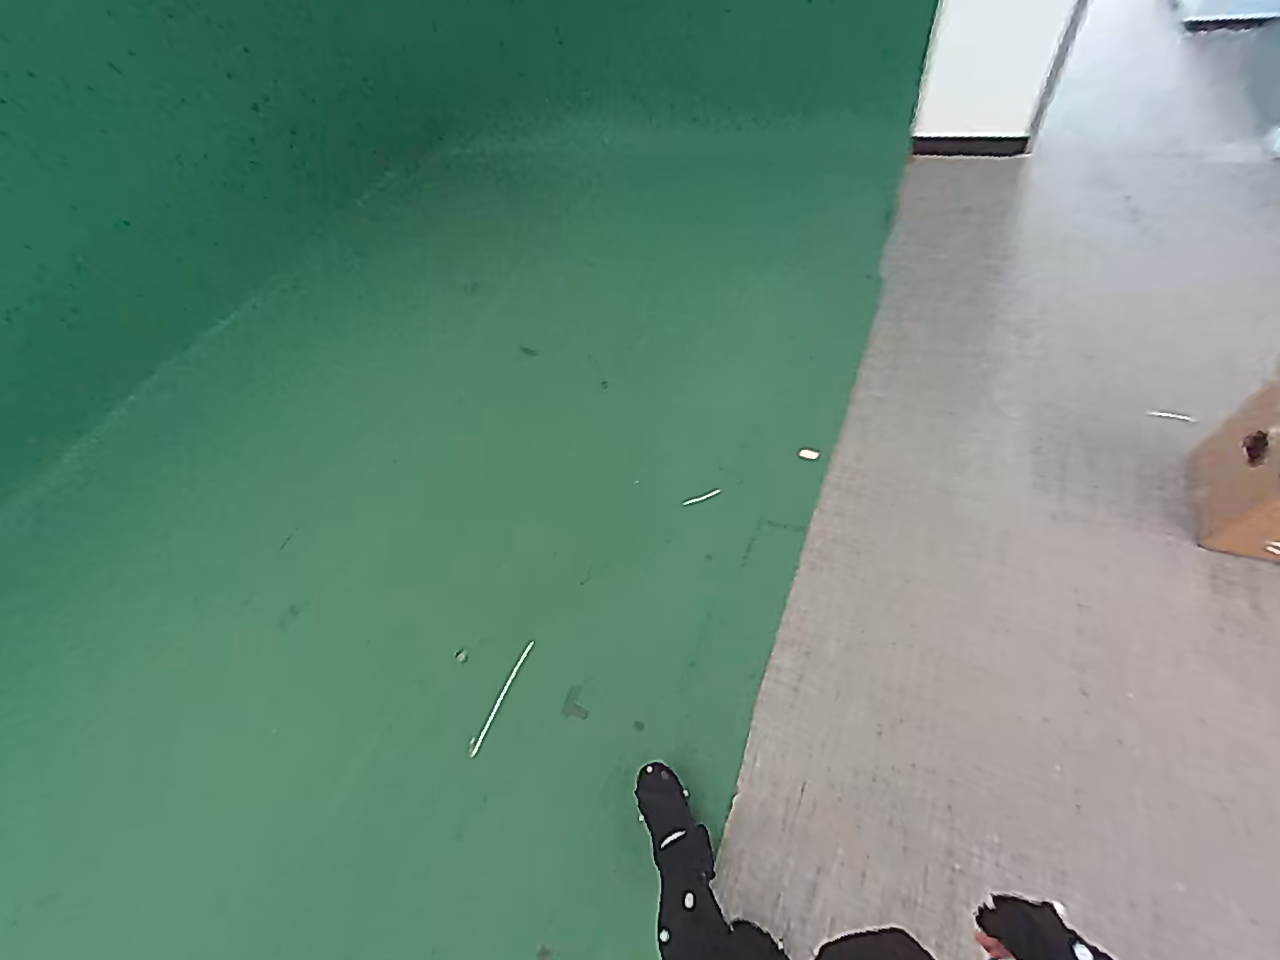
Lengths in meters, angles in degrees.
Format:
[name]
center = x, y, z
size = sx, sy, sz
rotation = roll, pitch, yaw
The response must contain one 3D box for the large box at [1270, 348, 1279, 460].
[large box]
center = 1.566, -0.189, 1.015
size = 0.408, 0.320, 0.320
rotation = 15, 66, 22
